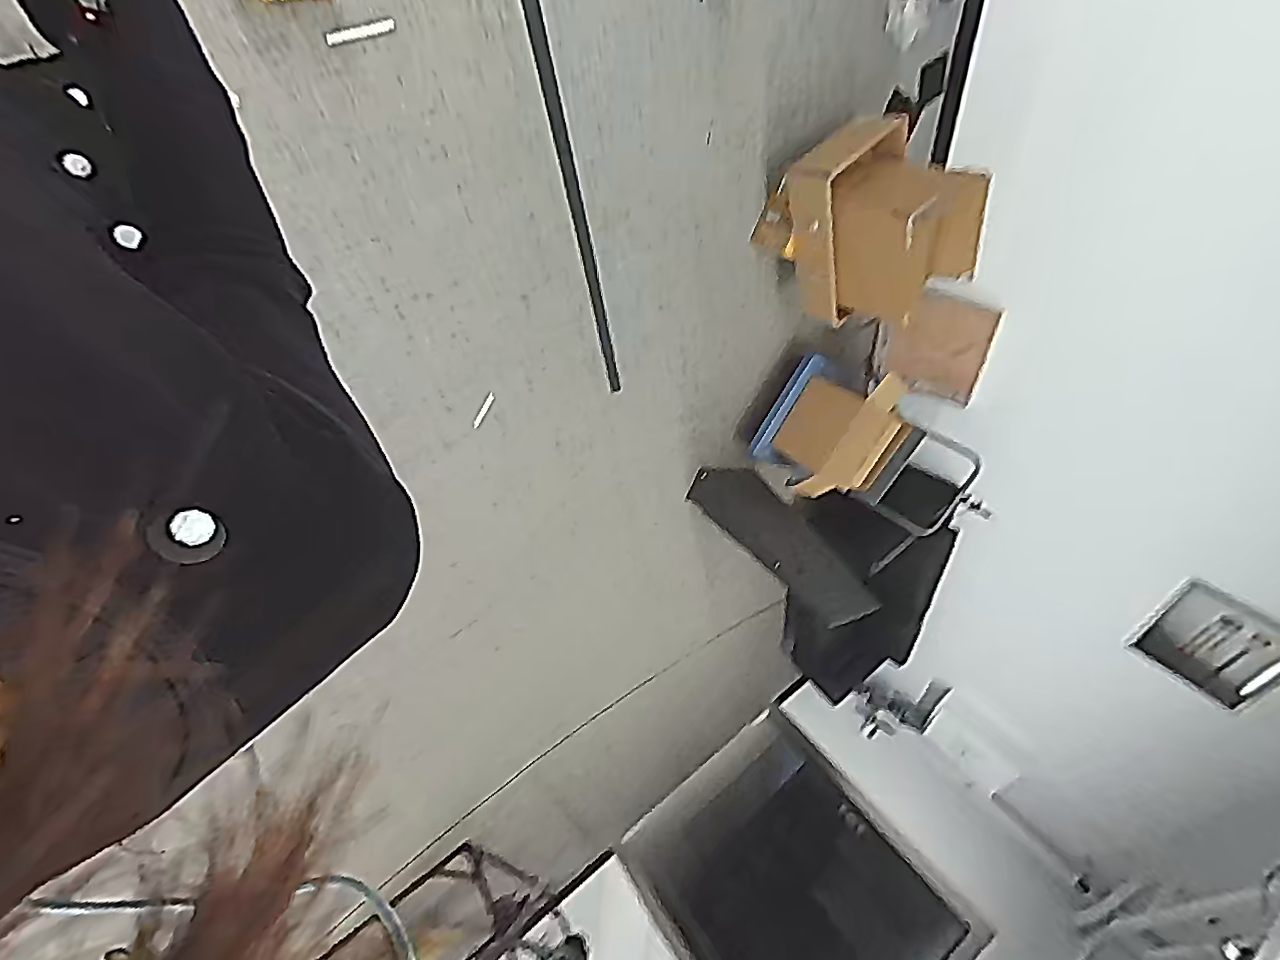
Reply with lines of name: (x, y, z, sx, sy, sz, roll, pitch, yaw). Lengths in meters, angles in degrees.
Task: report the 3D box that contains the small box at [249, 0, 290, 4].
small box: (-0.664, -0.992, 0.989, 0.179, 0.176, 0.168, -30, 138, -22)
